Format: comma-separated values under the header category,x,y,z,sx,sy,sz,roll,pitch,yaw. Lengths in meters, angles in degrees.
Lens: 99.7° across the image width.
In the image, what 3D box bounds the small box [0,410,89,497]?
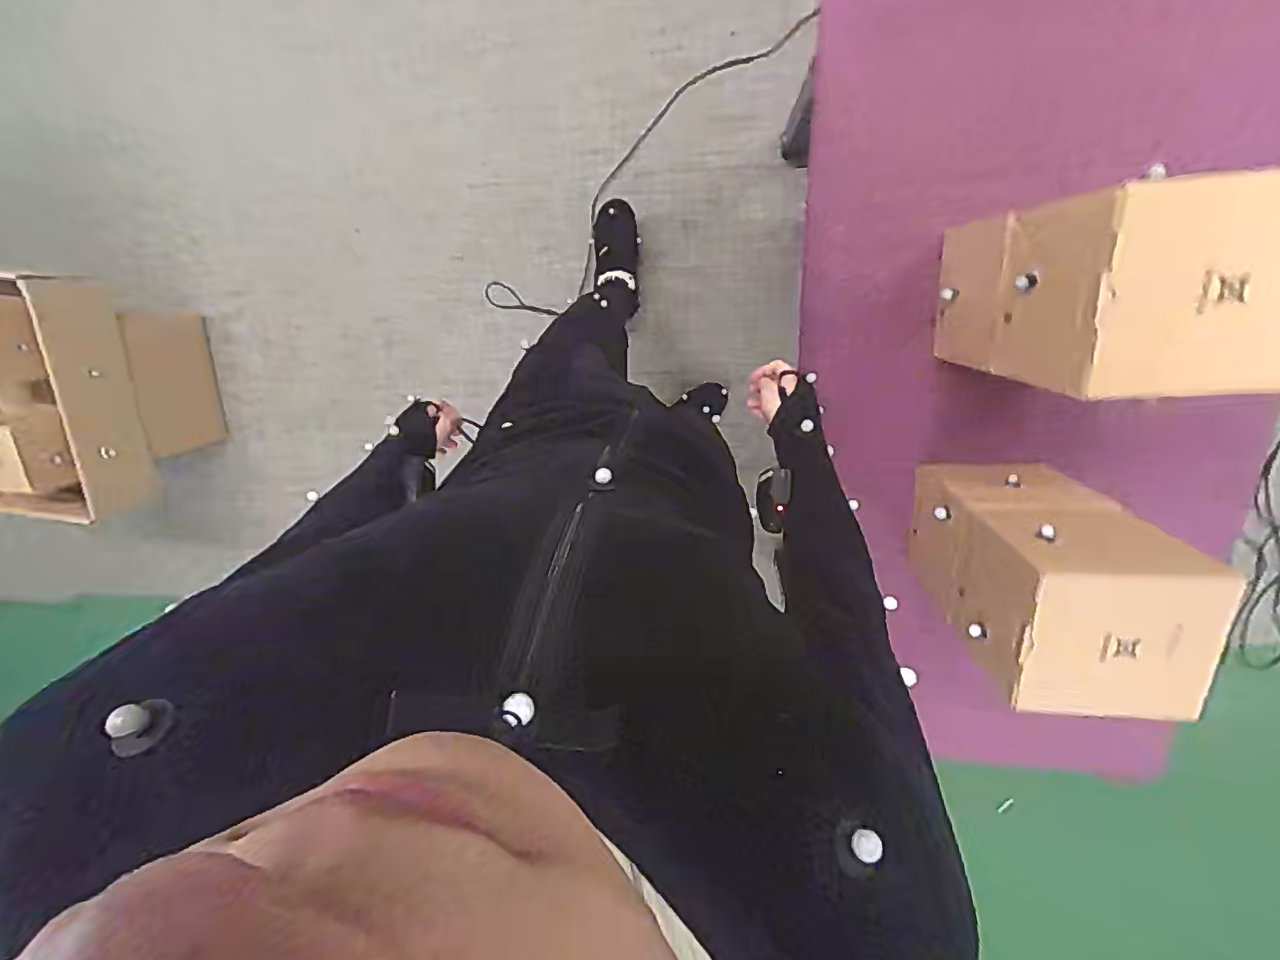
category,x,y,z,sx,sy,sz,roll,pitch,yaw
small box,-1.596,-0.072,1.397,0.168,0.176,0.179,5,110,6

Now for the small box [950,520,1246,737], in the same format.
category,x,y,z,sx,sy,sz,roll,pitch,yaw
small box,0.475,0.151,0.599,0.179,0.176,0.168,0,109,7

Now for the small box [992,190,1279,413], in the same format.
category,x,y,z,sx,sy,sz,roll,pitch,yaw
small box,0.464,-0.162,0.494,0.179,0.176,0.168,-1,109,9

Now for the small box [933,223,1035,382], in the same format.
category,x,y,z,sx,sy,sz,roll,pitch,yaw
small box,0.482,-0.214,0.647,0.179,0.176,0.168,-1,108,8
